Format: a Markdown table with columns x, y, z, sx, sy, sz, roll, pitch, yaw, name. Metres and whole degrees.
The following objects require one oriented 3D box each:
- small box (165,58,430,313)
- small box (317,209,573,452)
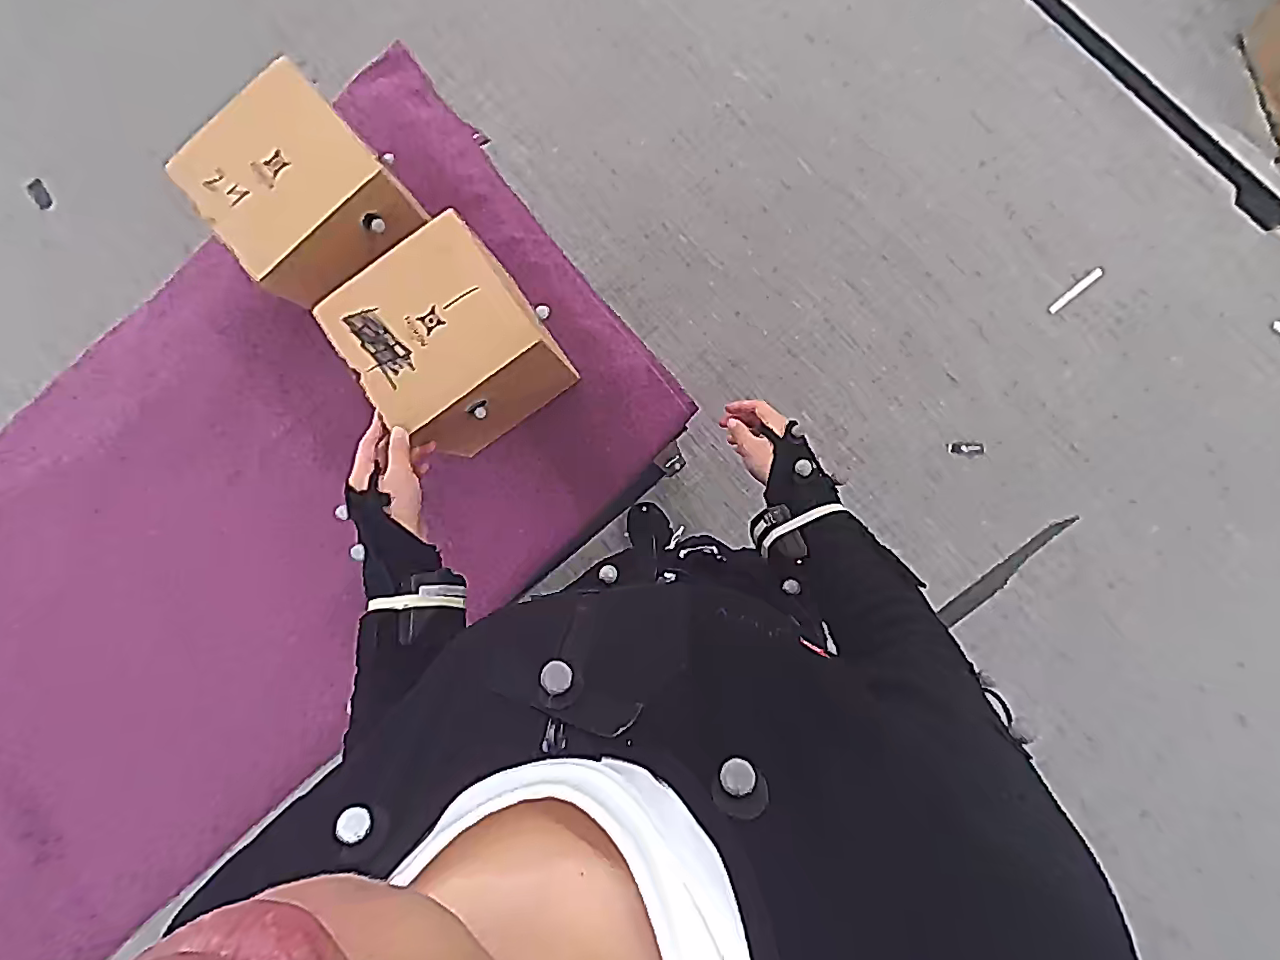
| x | y | z | sx | sy | sz | roll | pitch | yaw | name |
| --- | --- | --- | --- | --- | --- | --- | --- | --- | --- |
| -0.367 | -0.312 | 0.627 | 0.179 | 0.176 | 0.168 | -41 | 86 | 3 | small box |
| -0.200 | -0.147 | 0.604 | 0.179 | 0.176 | 0.168 | -35 | 84 | 3 | small box |
